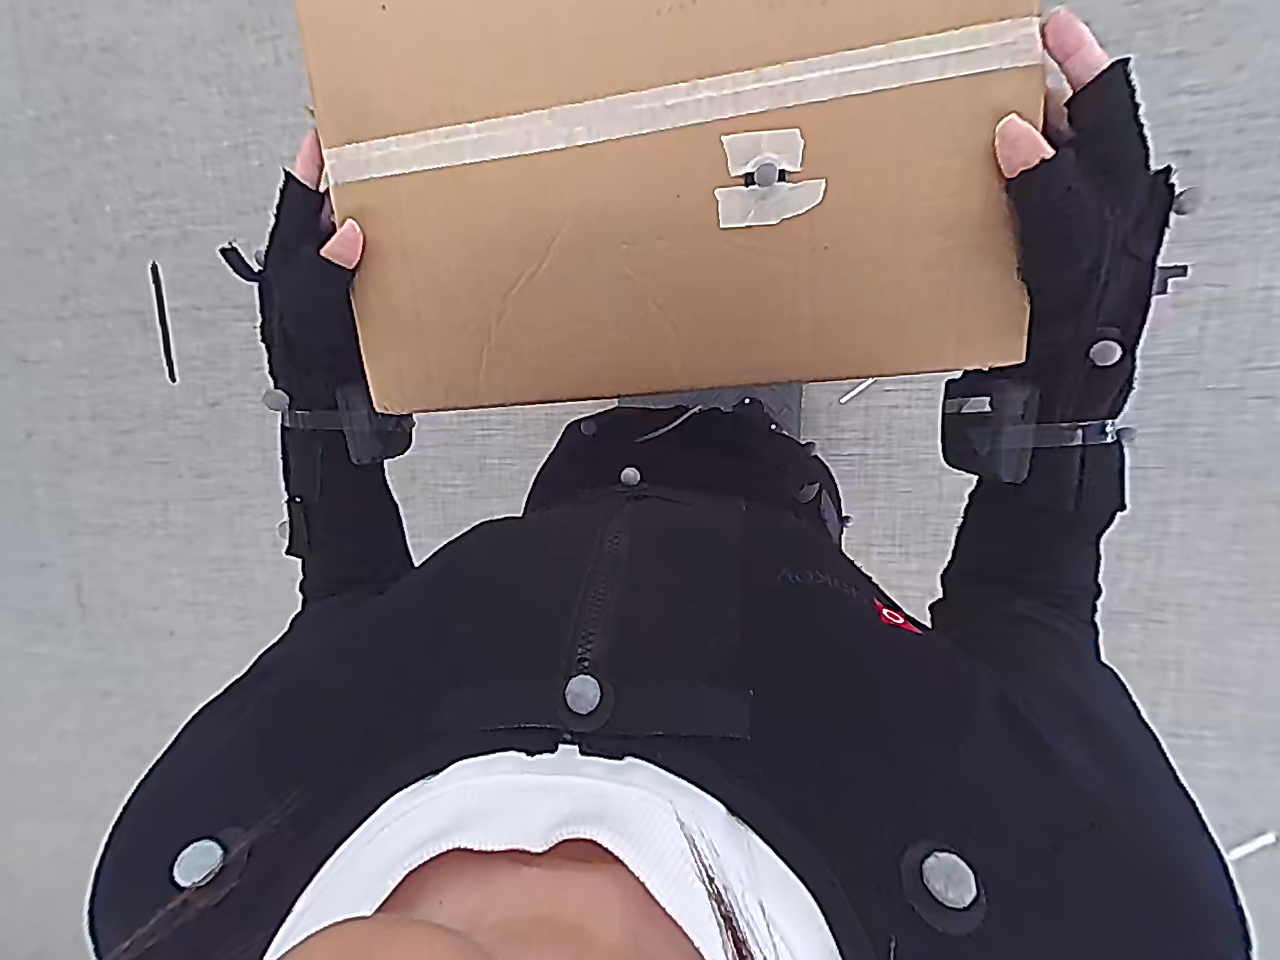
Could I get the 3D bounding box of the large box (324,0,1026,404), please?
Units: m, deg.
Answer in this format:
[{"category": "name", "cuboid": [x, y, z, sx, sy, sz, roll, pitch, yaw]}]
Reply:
[{"category": "large box", "cuboid": [0.029, -0.247, 0.463, 0.408, 0.320, 0.320, -3, 102, 10]}]
